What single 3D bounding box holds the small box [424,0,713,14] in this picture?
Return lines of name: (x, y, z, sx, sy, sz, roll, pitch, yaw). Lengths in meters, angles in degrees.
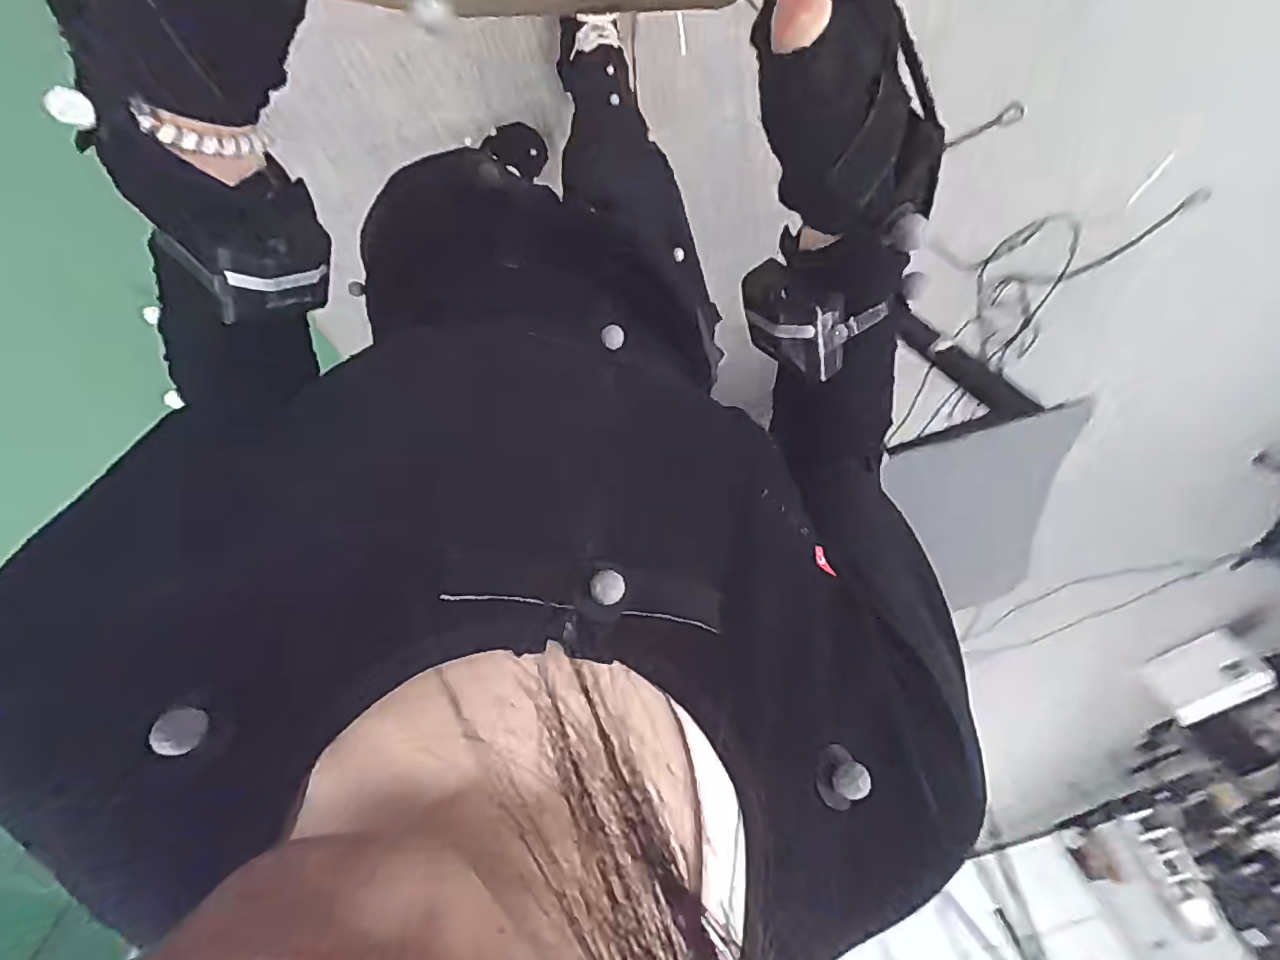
small box: (-0.043, -0.260, 0.154, 0.168, 0.176, 0.179, 3, 126, 6)
